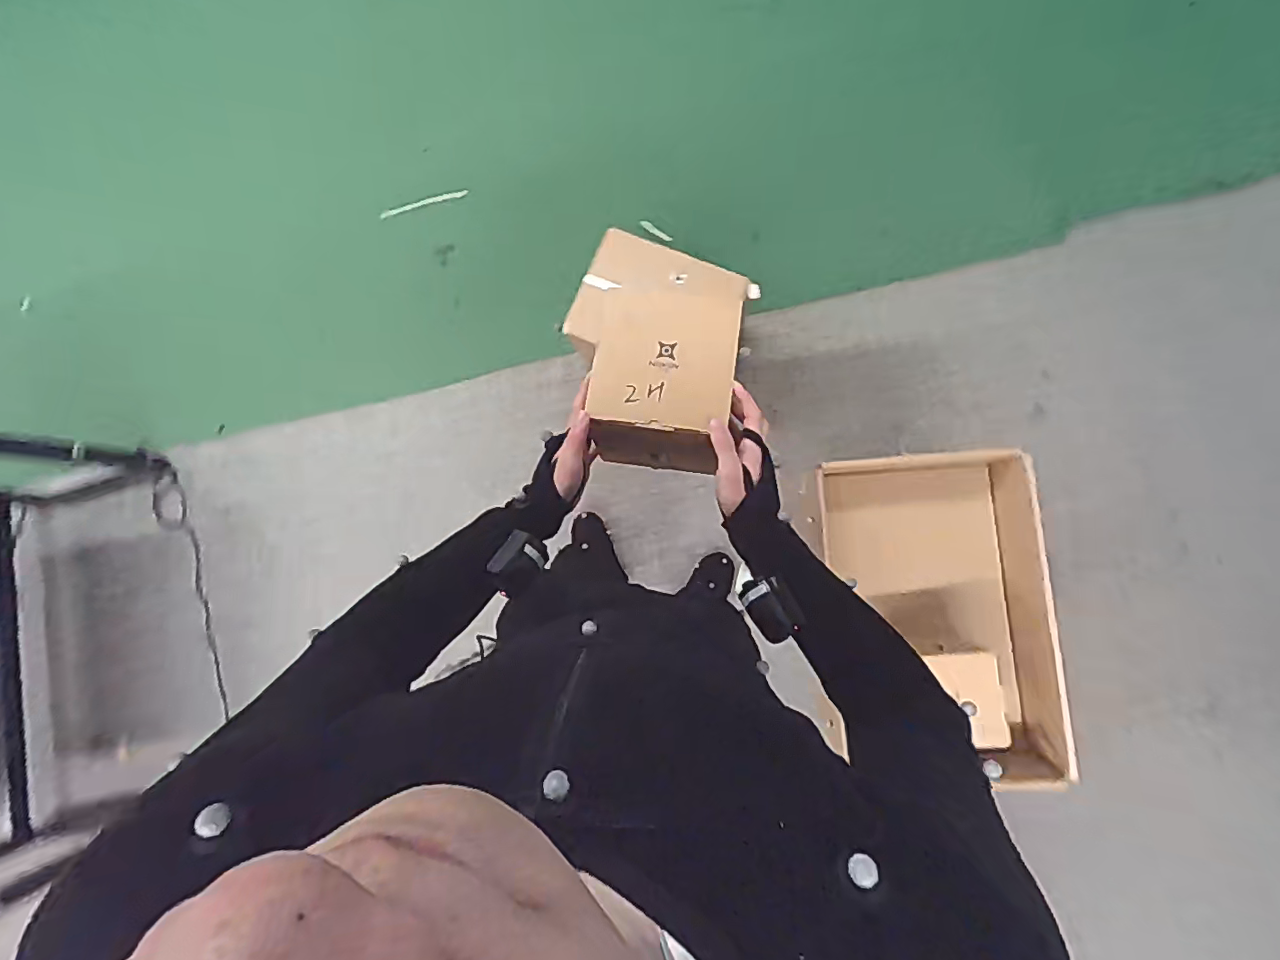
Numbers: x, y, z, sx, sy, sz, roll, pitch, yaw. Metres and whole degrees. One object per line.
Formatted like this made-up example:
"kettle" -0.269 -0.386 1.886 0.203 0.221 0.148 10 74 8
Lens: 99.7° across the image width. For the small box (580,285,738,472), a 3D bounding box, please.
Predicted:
"small box" 0.028 -0.123 0.704 0.168 0.176 0.179 7 77 6
